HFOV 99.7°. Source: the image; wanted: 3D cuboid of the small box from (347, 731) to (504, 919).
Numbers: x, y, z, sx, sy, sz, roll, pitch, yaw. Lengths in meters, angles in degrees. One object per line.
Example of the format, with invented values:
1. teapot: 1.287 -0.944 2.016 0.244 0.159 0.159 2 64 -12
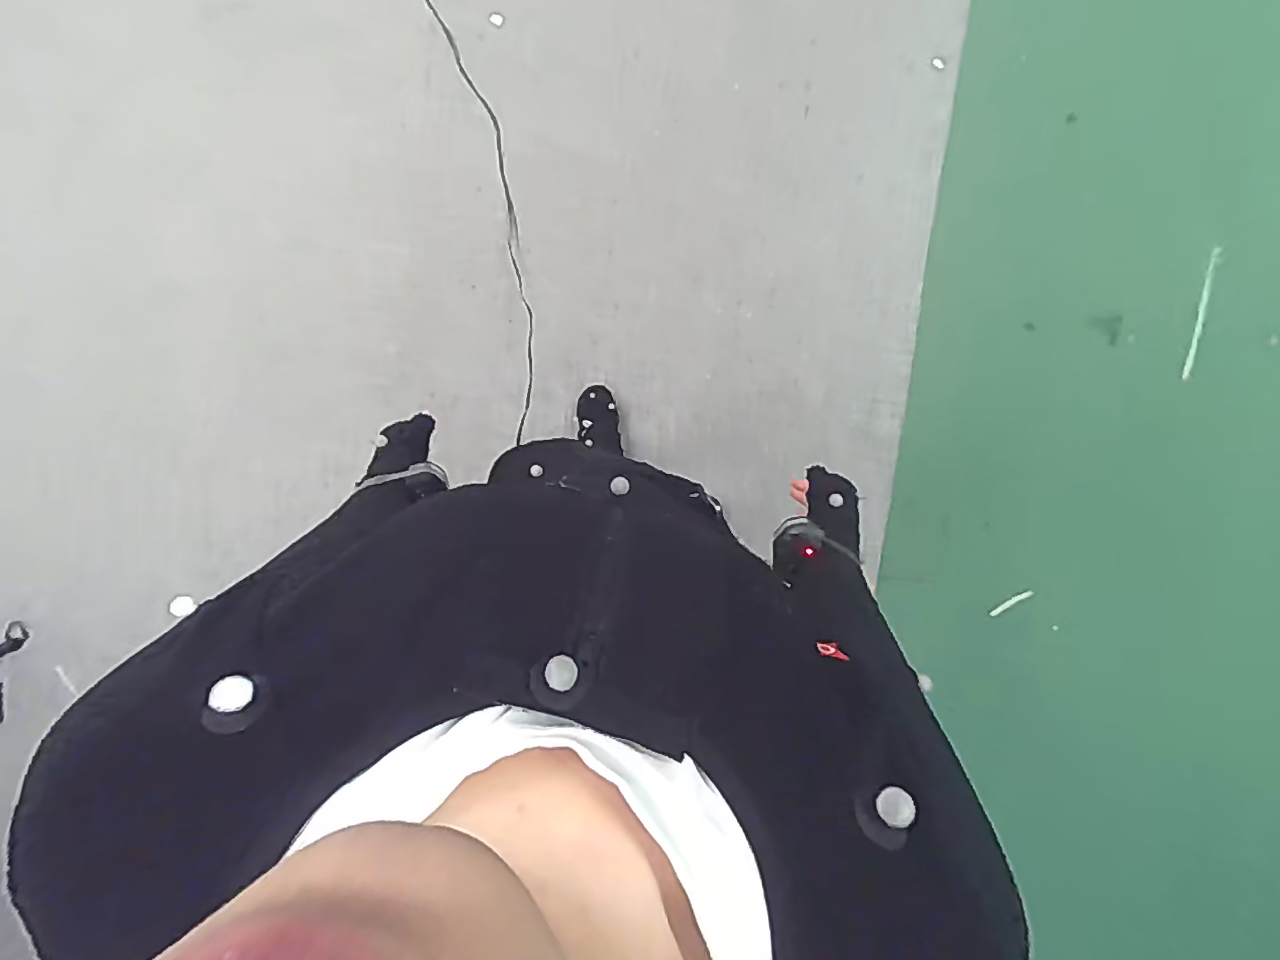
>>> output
1. small box: -0.332 0.537 0.868 0.168 0.176 0.179 10 95 6

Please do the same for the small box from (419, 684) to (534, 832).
1. small box: -0.311 0.516 1.030 0.168 0.176 0.179 10 97 6
